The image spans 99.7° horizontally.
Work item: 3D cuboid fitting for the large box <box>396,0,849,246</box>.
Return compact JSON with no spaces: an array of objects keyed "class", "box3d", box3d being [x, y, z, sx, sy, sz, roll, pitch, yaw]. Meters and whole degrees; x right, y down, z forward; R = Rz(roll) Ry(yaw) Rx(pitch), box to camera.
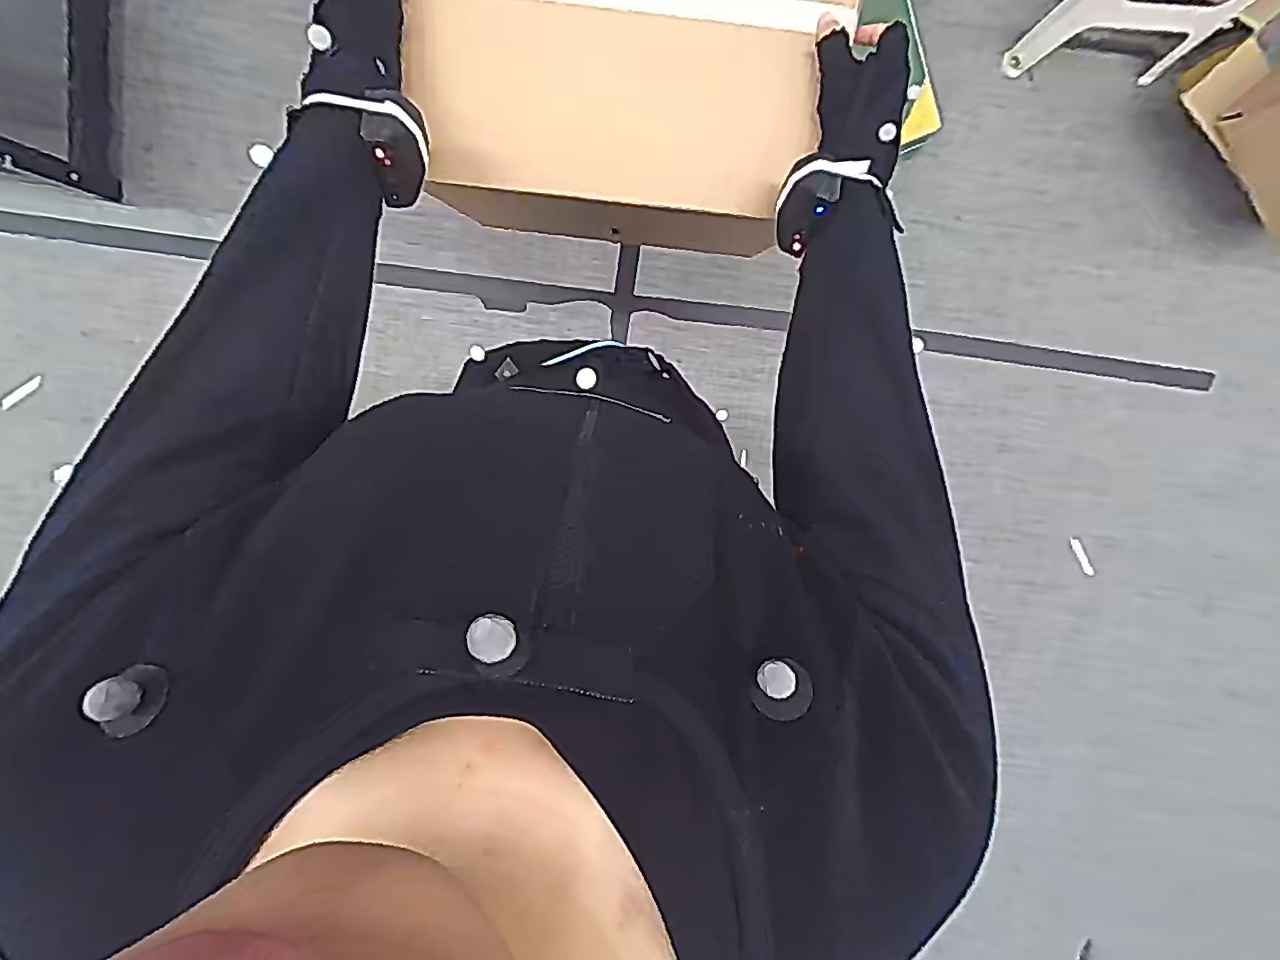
[{"class":"large box","box3d":[-0.014,-0.461,0.616,0.408,0.320,0.320,5,107,-2]}]
